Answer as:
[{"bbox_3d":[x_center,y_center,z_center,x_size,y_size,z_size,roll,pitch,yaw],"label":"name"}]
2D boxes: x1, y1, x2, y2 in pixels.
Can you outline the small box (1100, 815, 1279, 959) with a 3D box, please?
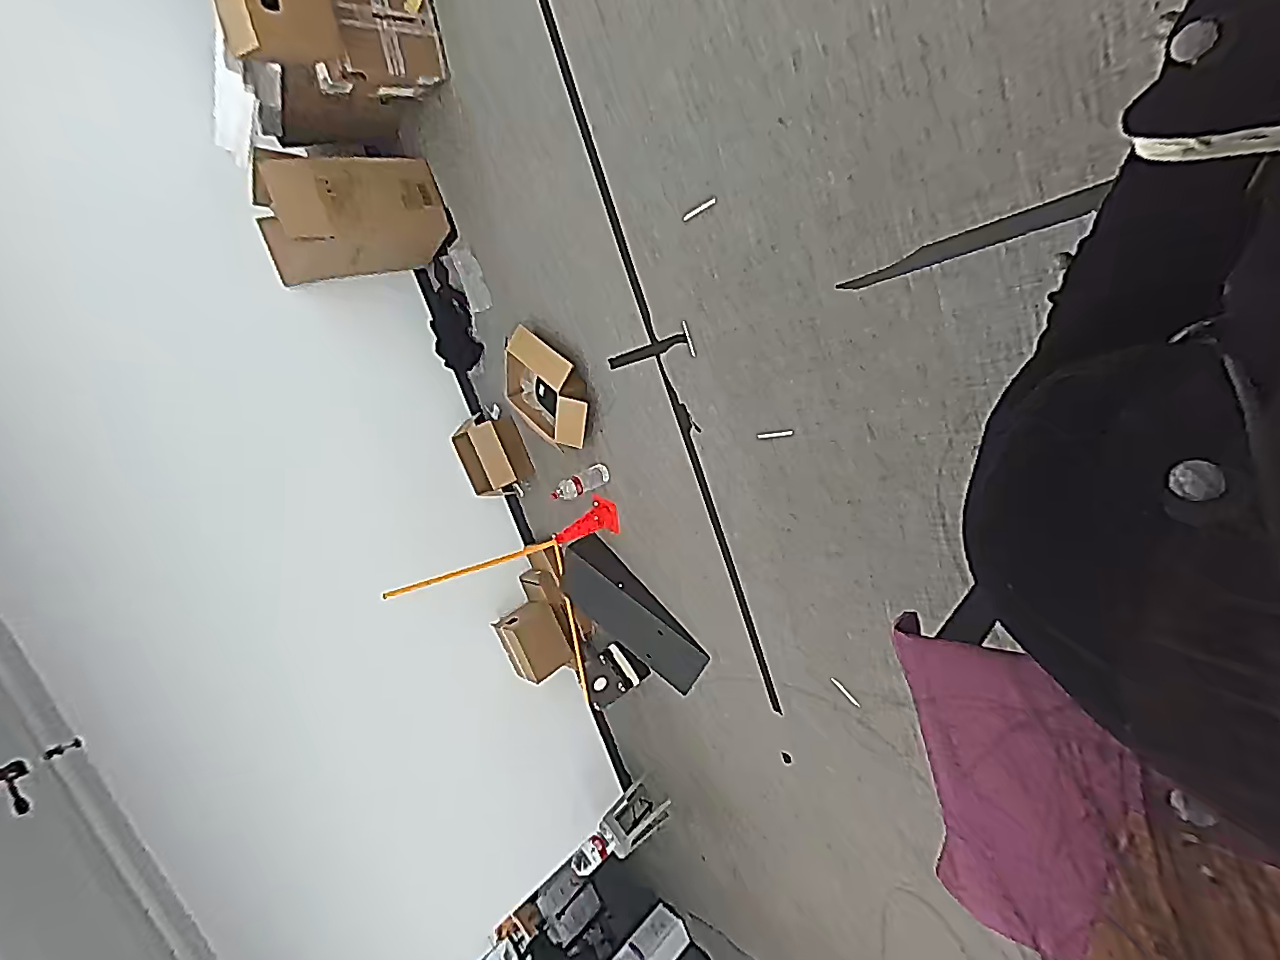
[{"bbox_3d":[0.708,0.584,0.684,0.168,0.176,0.179,5,116,50],"label":"small box"}]
